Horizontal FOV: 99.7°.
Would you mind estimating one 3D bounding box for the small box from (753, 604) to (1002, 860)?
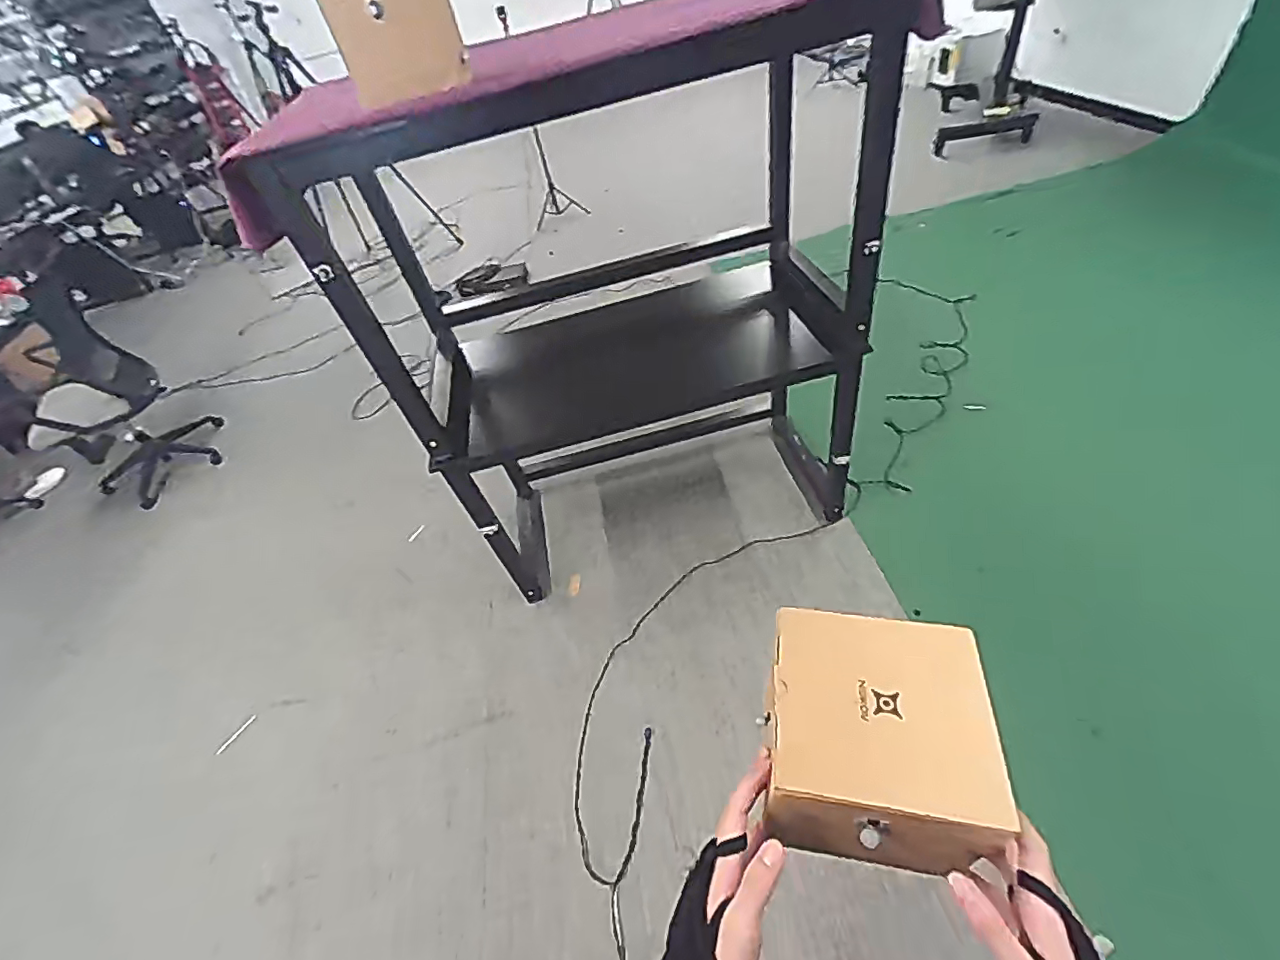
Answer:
[{"bbox_3d":[0.205,0.243,0.522,0.179,0.176,0.168,3,45,12],"label":"small box"}]

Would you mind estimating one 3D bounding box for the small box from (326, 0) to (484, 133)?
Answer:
[{"bbox_3d":[-0.393,-0.728,0.939,0.179,0.176,0.168,-12,44,3],"label":"small box"}]
